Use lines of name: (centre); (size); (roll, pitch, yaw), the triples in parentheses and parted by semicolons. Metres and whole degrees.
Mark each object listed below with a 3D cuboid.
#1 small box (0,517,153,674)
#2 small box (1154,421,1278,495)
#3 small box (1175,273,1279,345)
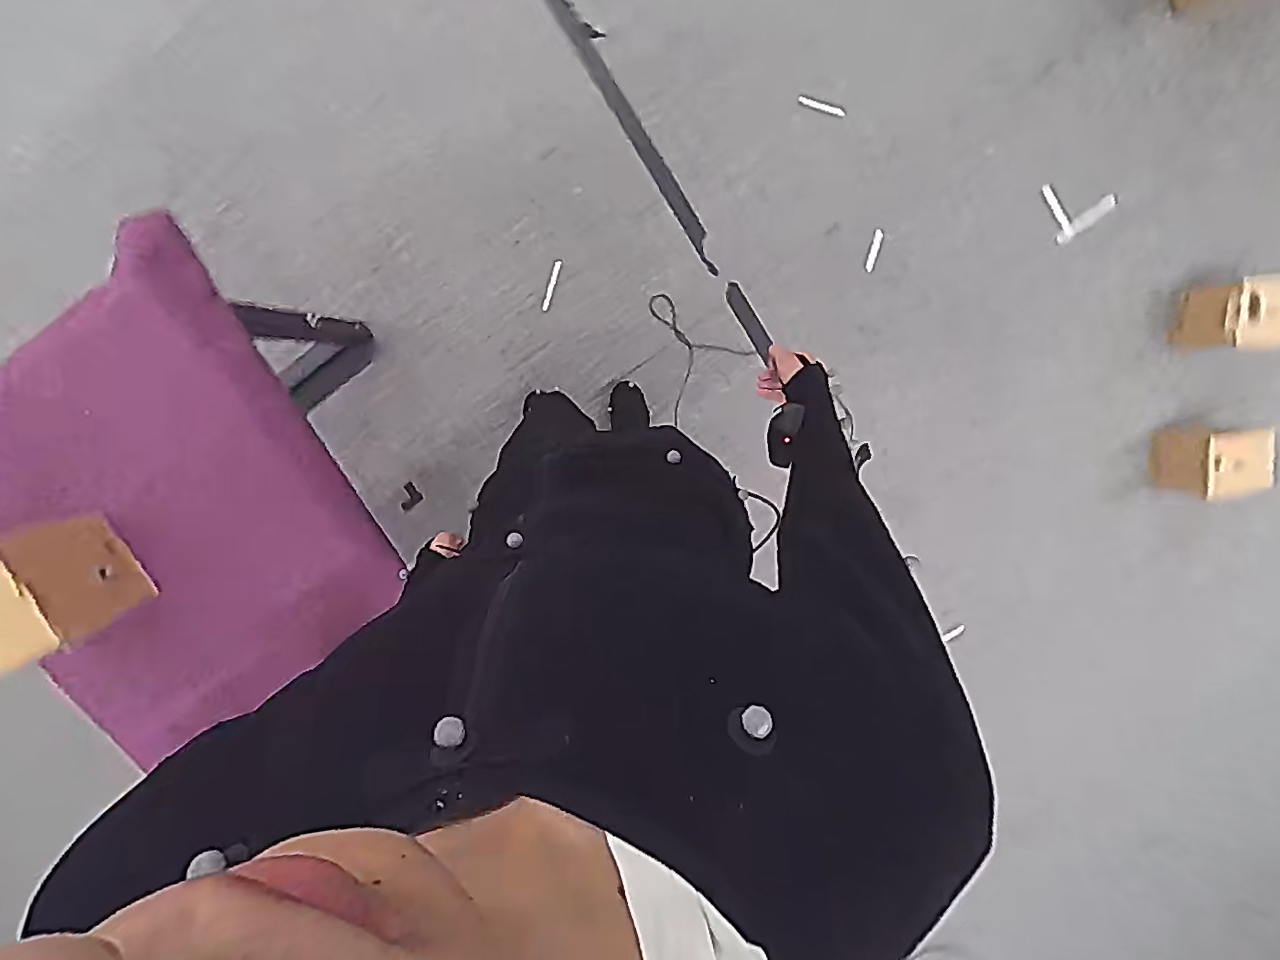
small box: (-0.927, 0.179, 0.830); (0.179, 0.176, 0.168); (-28, 100, 4)
small box: (1.621, -0.068, 1.530); (0.179, 0.176, 0.168); (-11, 101, 1)
small box: (1.608, -0.456, 1.454); (0.179, 0.176, 0.168); (-4, 101, 0)
